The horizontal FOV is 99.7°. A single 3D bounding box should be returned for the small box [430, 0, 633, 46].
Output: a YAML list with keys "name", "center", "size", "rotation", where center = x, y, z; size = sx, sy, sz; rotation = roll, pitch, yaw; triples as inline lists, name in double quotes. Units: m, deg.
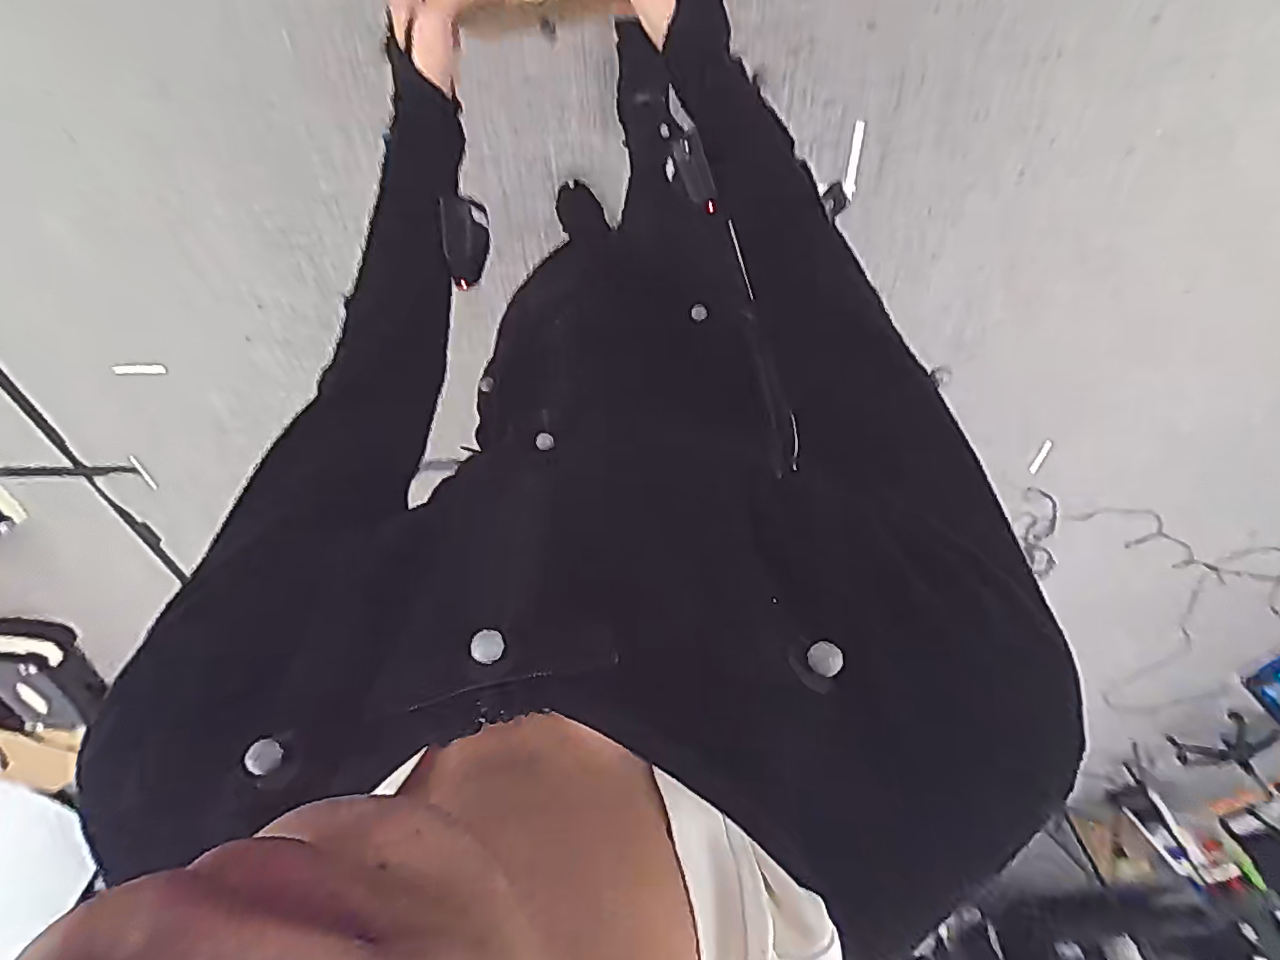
- name: "small box"
  center: [-0.098, -0.499, 0.454]
  size: [0.168, 0.176, 0.179]
  rotation: [-6, 122, 4]
